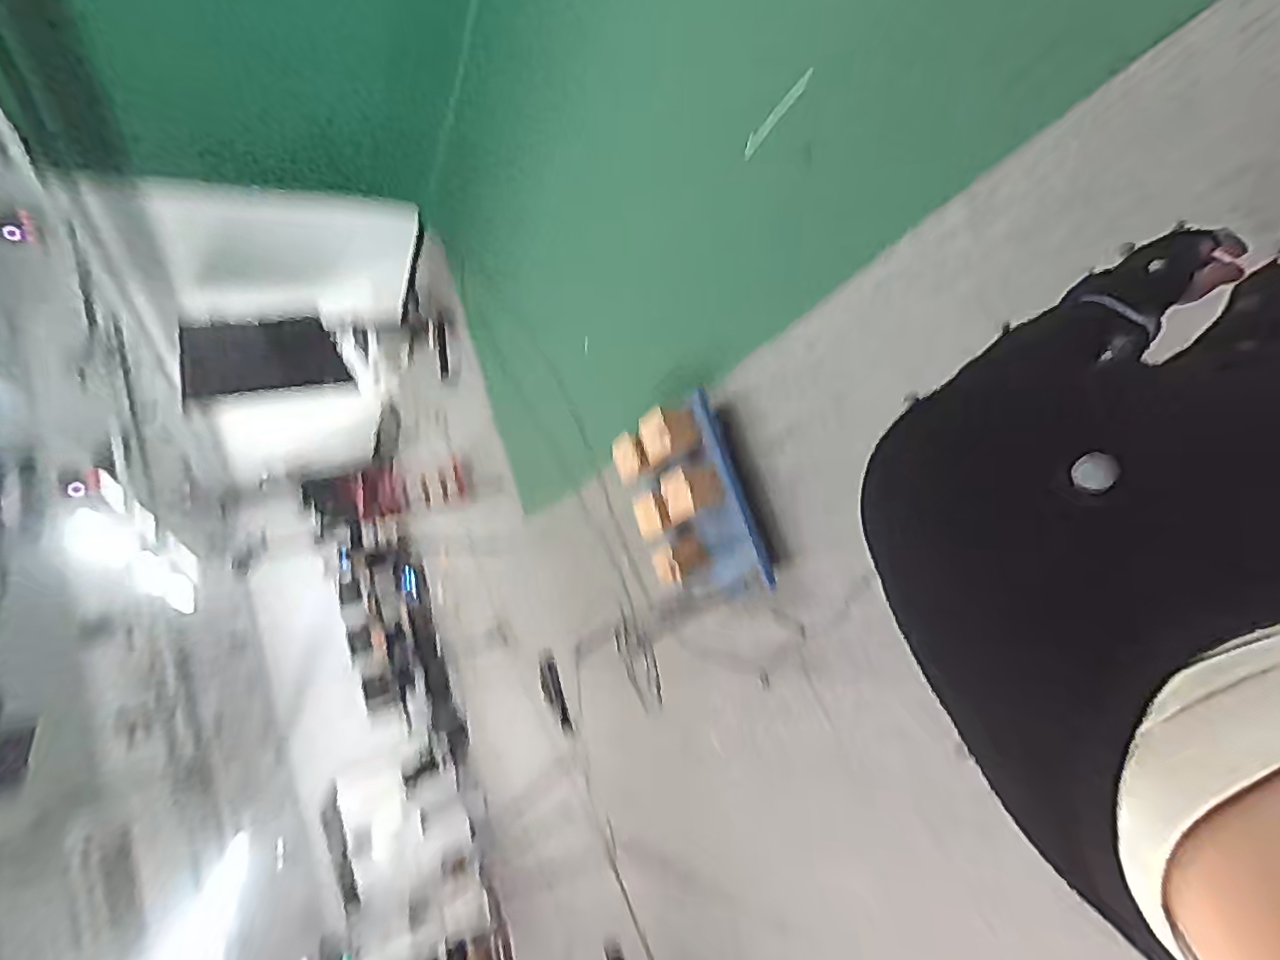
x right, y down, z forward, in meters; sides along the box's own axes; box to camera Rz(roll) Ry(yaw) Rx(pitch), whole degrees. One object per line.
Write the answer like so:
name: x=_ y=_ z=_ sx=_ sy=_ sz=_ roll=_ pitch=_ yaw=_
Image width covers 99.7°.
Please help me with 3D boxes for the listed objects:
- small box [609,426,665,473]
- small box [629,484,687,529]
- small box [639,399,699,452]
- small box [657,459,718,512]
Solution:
small box: x=-0.013 y=-0.145 z=2.499 sx=0.179 sy=0.176 sz=0.168 roll=-31 pitch=77 yaw=55
small box: x=0.082 y=0.115 z=2.460 sx=0.179 sy=0.176 sz=0.168 roll=-29 pitch=77 yaw=54
small box: x=0.130 y=-0.233 z=2.292 sx=0.179 sy=0.176 sz=0.168 roll=-31 pitch=75 yaw=56
small box: x=0.205 y=0.020 z=2.246 sx=0.179 sy=0.176 sz=0.168 roll=-28 pitch=78 yaw=55
